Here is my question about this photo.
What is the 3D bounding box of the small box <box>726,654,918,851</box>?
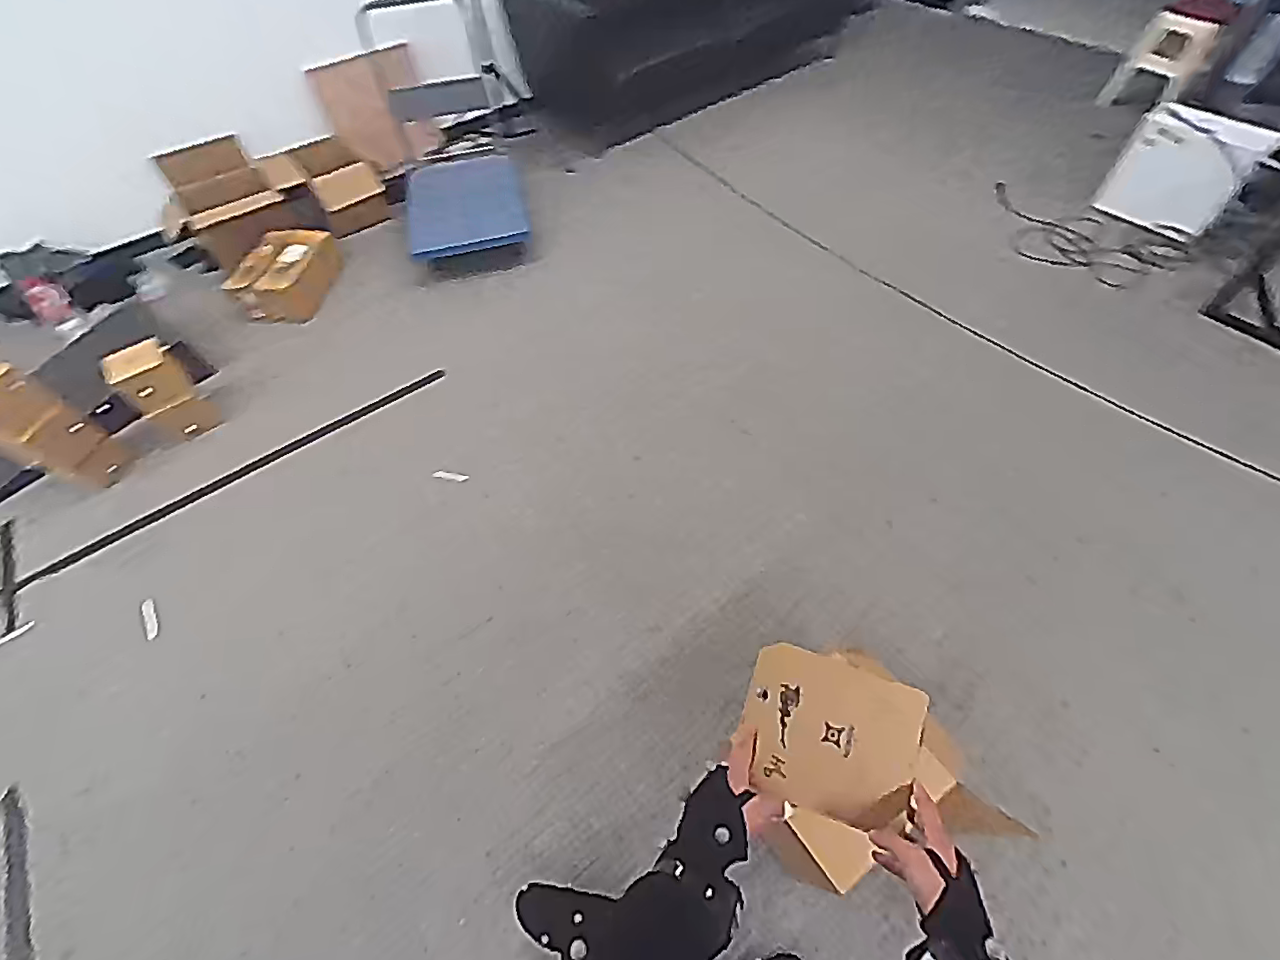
[{"bbox_3d":[0.224,0.334,0.701,0.179,0.176,0.168,18,73,8],"label":"small box"}]
